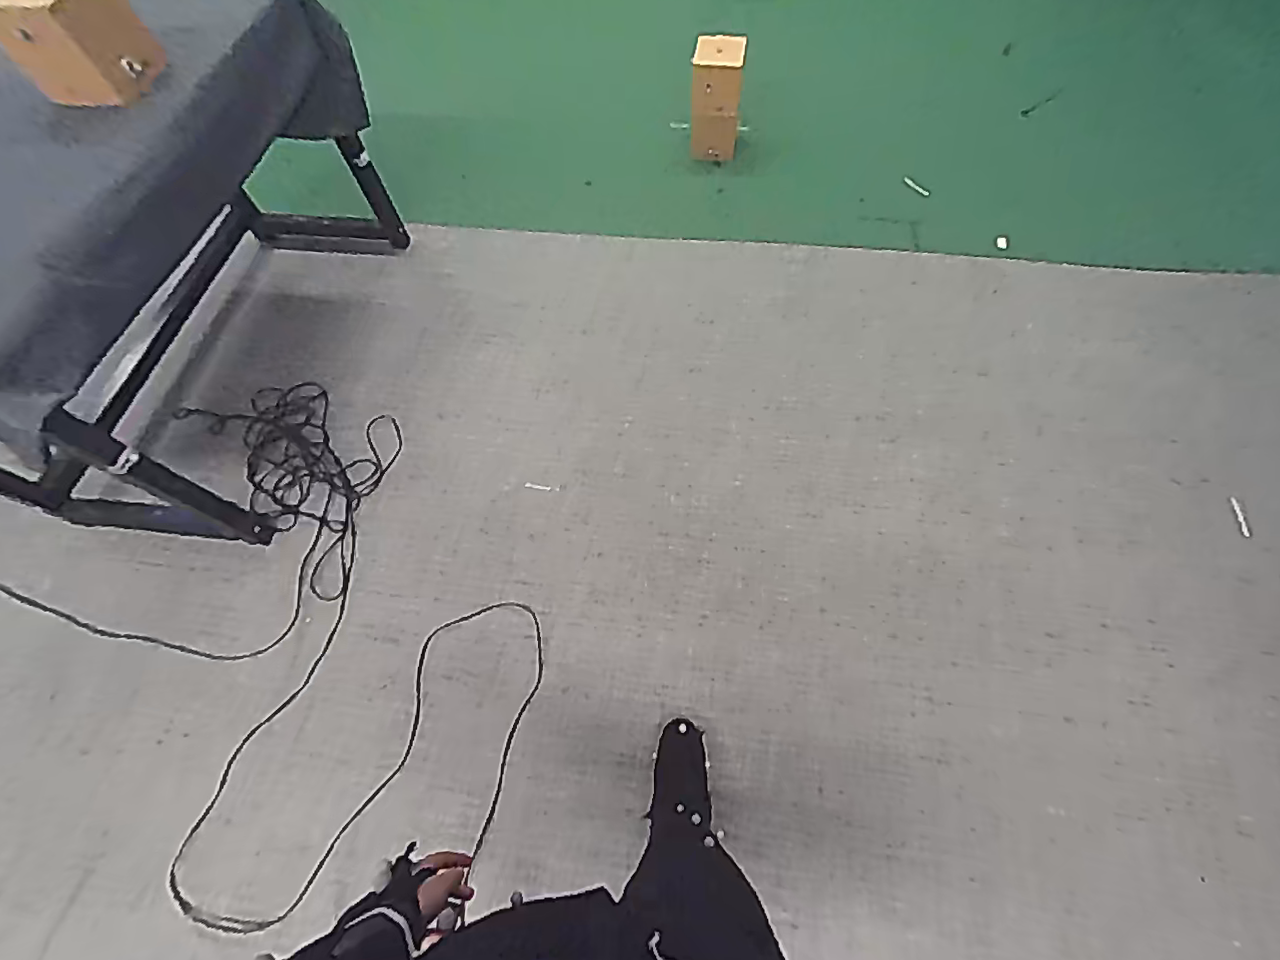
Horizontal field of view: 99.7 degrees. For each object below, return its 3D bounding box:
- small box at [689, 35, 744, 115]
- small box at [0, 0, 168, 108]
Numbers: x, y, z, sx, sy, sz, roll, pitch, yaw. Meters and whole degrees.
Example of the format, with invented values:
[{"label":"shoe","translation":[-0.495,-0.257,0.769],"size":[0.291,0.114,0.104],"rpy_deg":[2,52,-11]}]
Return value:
[{"label":"small box","translation":[0.263,-1.400,1.871],"size":[0.168,0.176,0.179],"rpy_deg":[7,64,7]},{"label":"small box","translation":[-1.083,-0.848,1.036],"size":[0.179,0.176,0.168],"rpy_deg":[7,65,6]}]
